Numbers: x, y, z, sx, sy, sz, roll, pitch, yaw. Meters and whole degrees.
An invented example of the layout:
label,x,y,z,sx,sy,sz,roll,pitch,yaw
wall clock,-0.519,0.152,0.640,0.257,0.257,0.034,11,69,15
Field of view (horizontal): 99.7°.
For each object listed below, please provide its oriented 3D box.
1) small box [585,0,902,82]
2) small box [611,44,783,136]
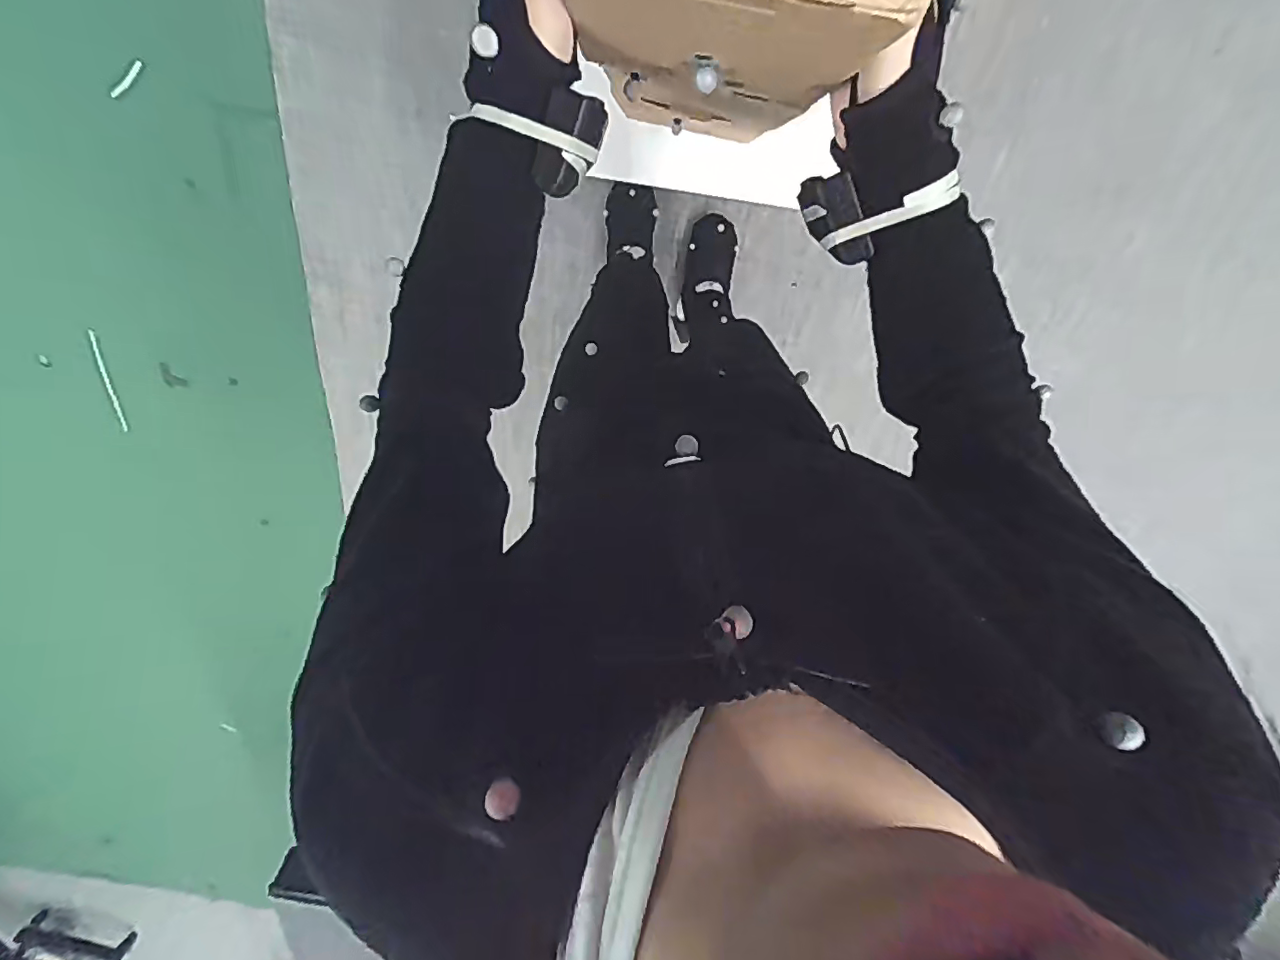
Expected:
label,x,y,z,sx,sy,sz,roll,pitch,yaw
small box,0.054,-0.328,0.256,0.168,0.176,0.179,10,114,-2
small box,0.071,-0.478,0.556,0.168,0.176,0.179,11,118,-1
